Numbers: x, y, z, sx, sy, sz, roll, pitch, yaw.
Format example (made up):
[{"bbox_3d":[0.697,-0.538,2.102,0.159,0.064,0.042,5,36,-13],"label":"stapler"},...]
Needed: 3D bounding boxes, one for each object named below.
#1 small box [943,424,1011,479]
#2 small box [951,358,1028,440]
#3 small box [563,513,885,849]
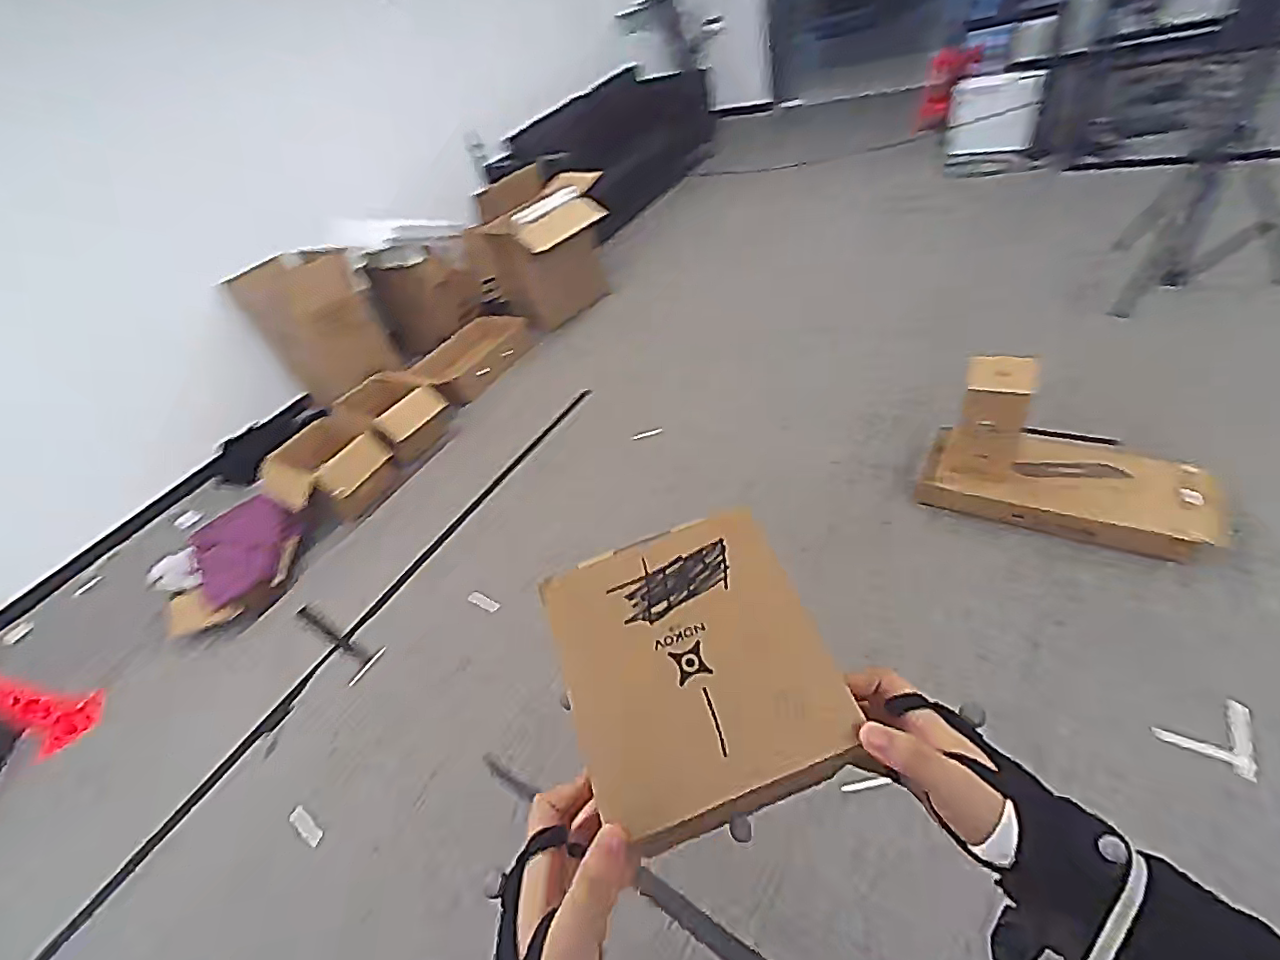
[{"bbox_3d":[1.083,-0.128,1.726,0.168,0.176,0.179,17,54,32],"label":"small box"},{"bbox_3d":[1.041,-0.244,1.618,0.168,0.176,0.179,10,50,28],"label":"small box"},{"bbox_3d":[0.053,0.161,0.423,0.168,0.176,0.179,-20,54,-4],"label":"small box"}]
